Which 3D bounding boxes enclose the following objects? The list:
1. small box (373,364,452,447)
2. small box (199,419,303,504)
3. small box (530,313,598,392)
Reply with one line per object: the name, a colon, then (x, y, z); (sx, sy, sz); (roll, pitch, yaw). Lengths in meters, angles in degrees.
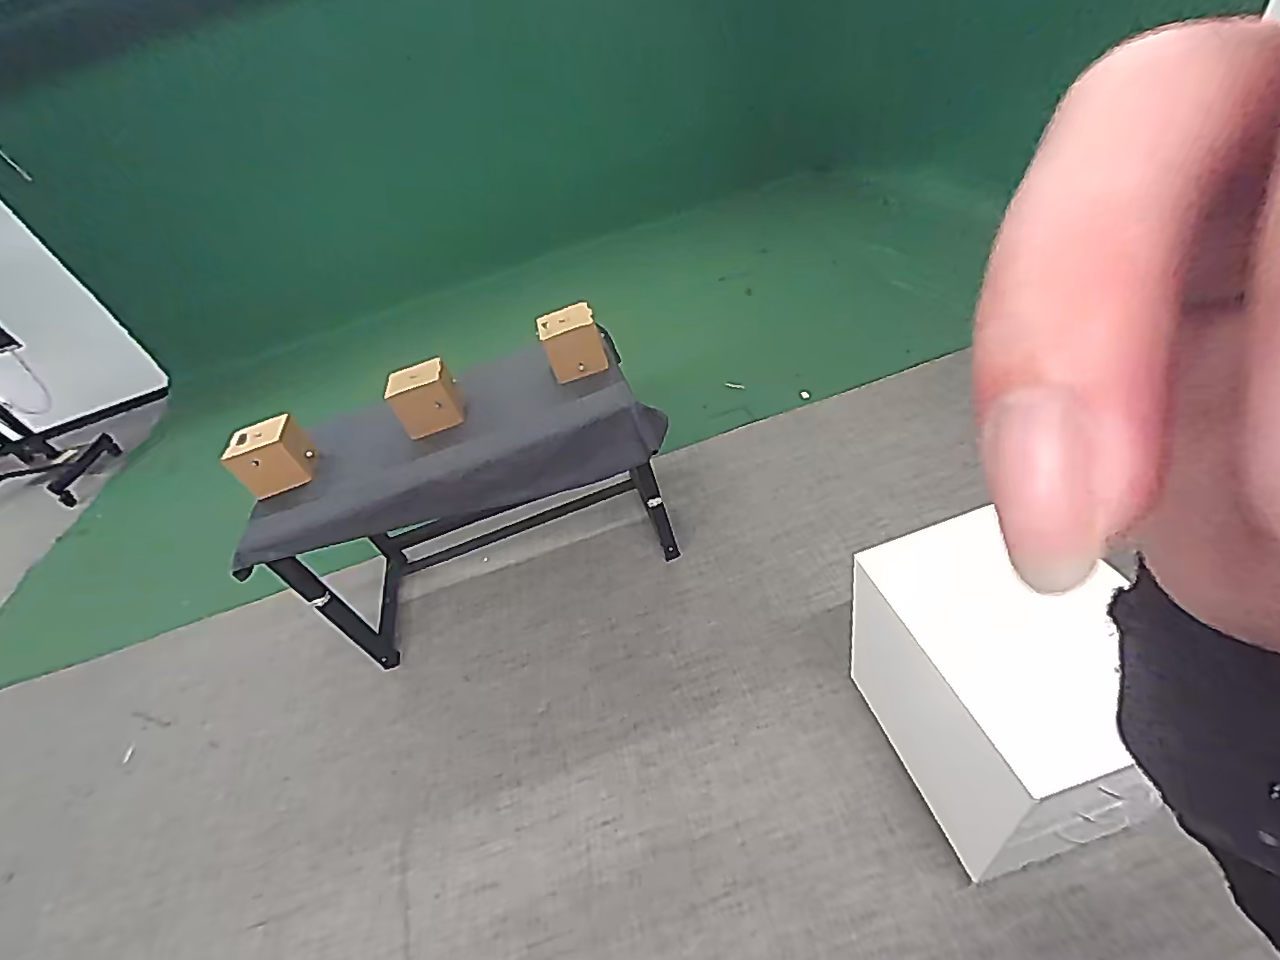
small box: (-0.706, -0.234, 1.701); (0.179, 0.176, 0.168); (-21, 39, -3)
small box: (-1.172, -0.053, 1.643); (0.179, 0.176, 0.168); (-20, 40, -7)
small box: (-0.240, -0.410, 1.744); (0.179, 0.176, 0.168); (-18, 40, -2)
